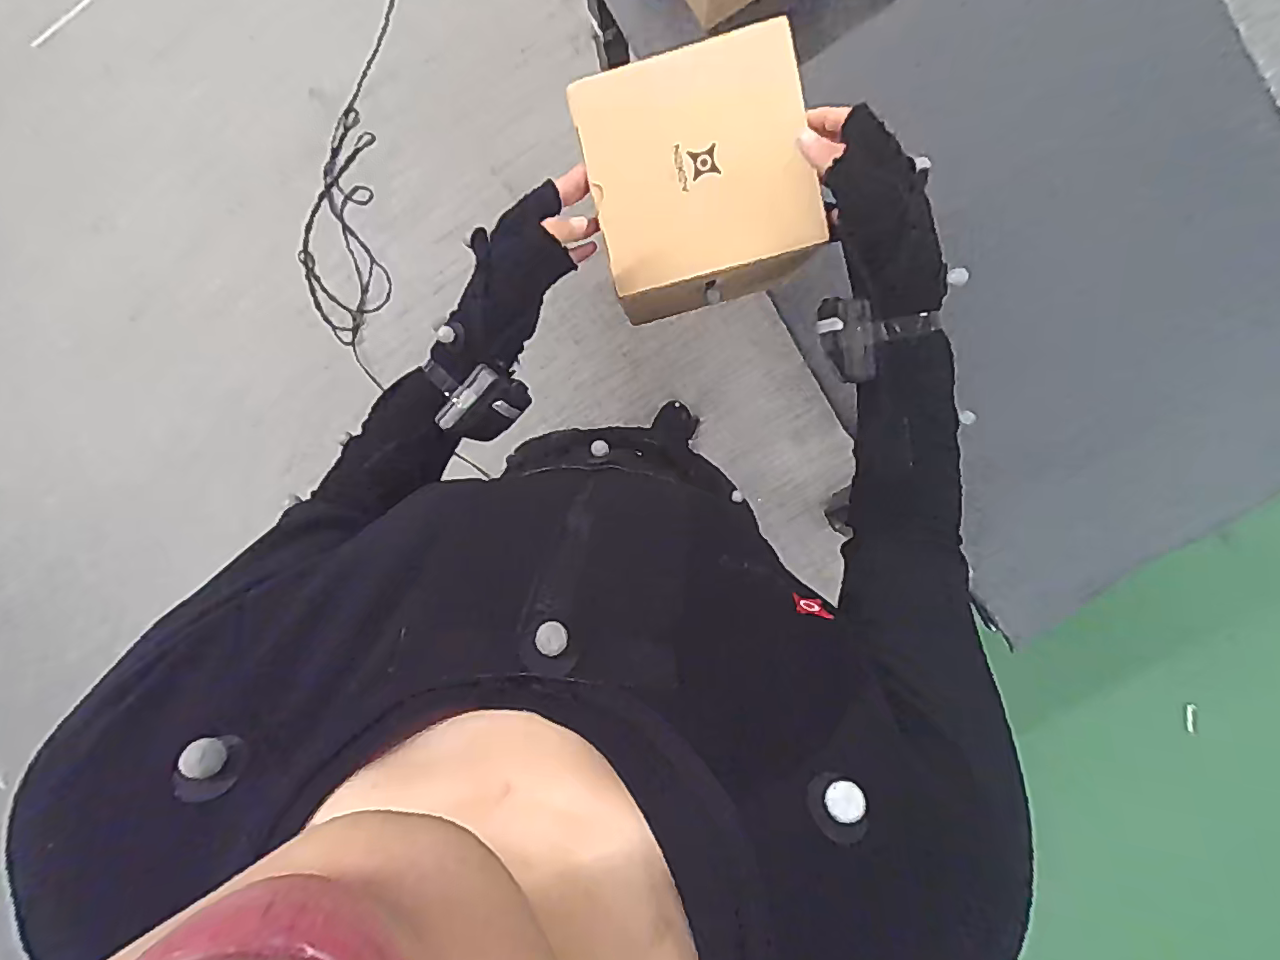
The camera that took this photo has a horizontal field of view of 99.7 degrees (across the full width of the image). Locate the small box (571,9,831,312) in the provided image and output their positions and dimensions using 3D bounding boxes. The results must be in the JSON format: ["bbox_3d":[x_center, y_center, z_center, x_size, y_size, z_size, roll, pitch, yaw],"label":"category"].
[{"bbox_3d":[0.053,-0.265,0.497,0.179,0.176,0.168,-14,98,7],"label":"small box"}]
